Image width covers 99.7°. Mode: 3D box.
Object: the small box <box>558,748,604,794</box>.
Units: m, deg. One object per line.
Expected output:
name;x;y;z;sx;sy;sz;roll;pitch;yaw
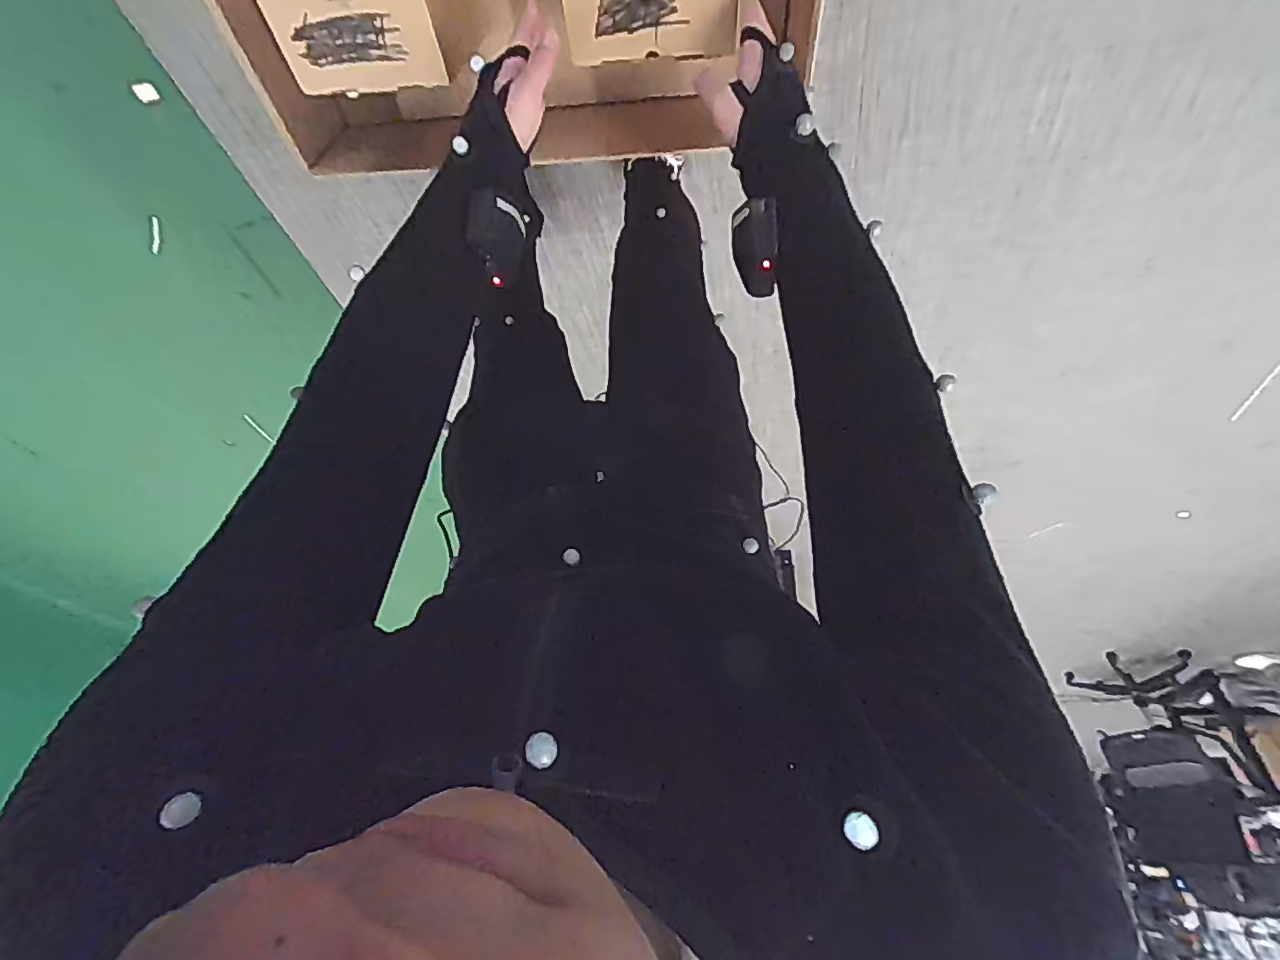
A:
small box;-0.272;1.362;2.531;0.168;0.176;0.179;-7;140;10
